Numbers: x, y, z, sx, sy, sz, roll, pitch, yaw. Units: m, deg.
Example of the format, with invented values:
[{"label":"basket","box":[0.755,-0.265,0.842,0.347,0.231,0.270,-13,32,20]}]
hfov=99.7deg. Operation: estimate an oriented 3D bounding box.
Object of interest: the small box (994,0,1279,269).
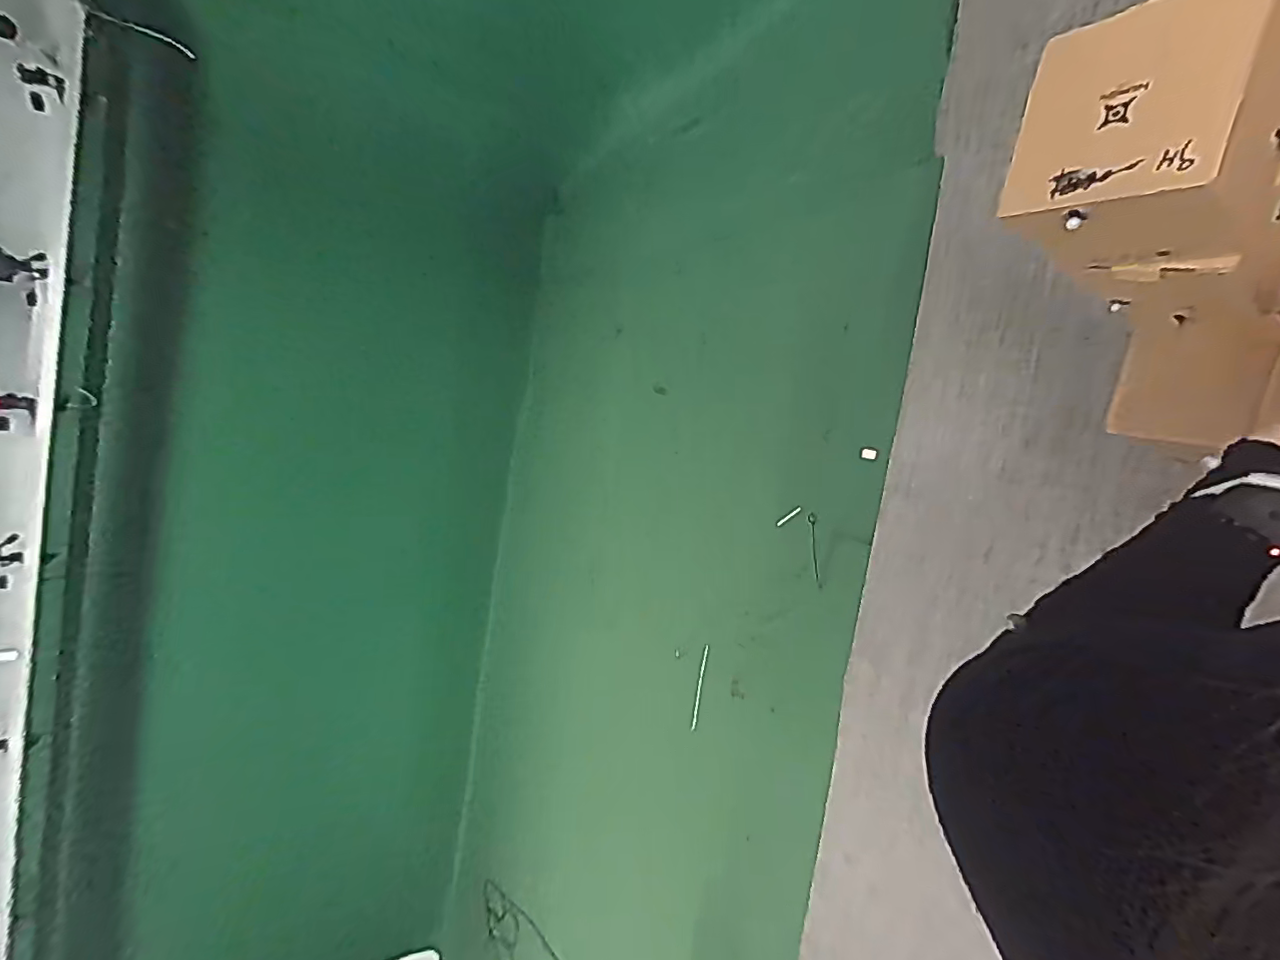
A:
[{"label":"small box","box":[0.501,-0.332,0.541,0.168,0.176,0.179,24,103,55]}]

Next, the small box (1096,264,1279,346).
[{"label":"small box","box":[0.773,-0.286,0.723,0.179,0.176,0.168,31,110,52]}]

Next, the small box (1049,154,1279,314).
[{"label":"small box","box":[0.637,-0.307,0.633,0.168,0.176,0.179,35,111,52]}]
